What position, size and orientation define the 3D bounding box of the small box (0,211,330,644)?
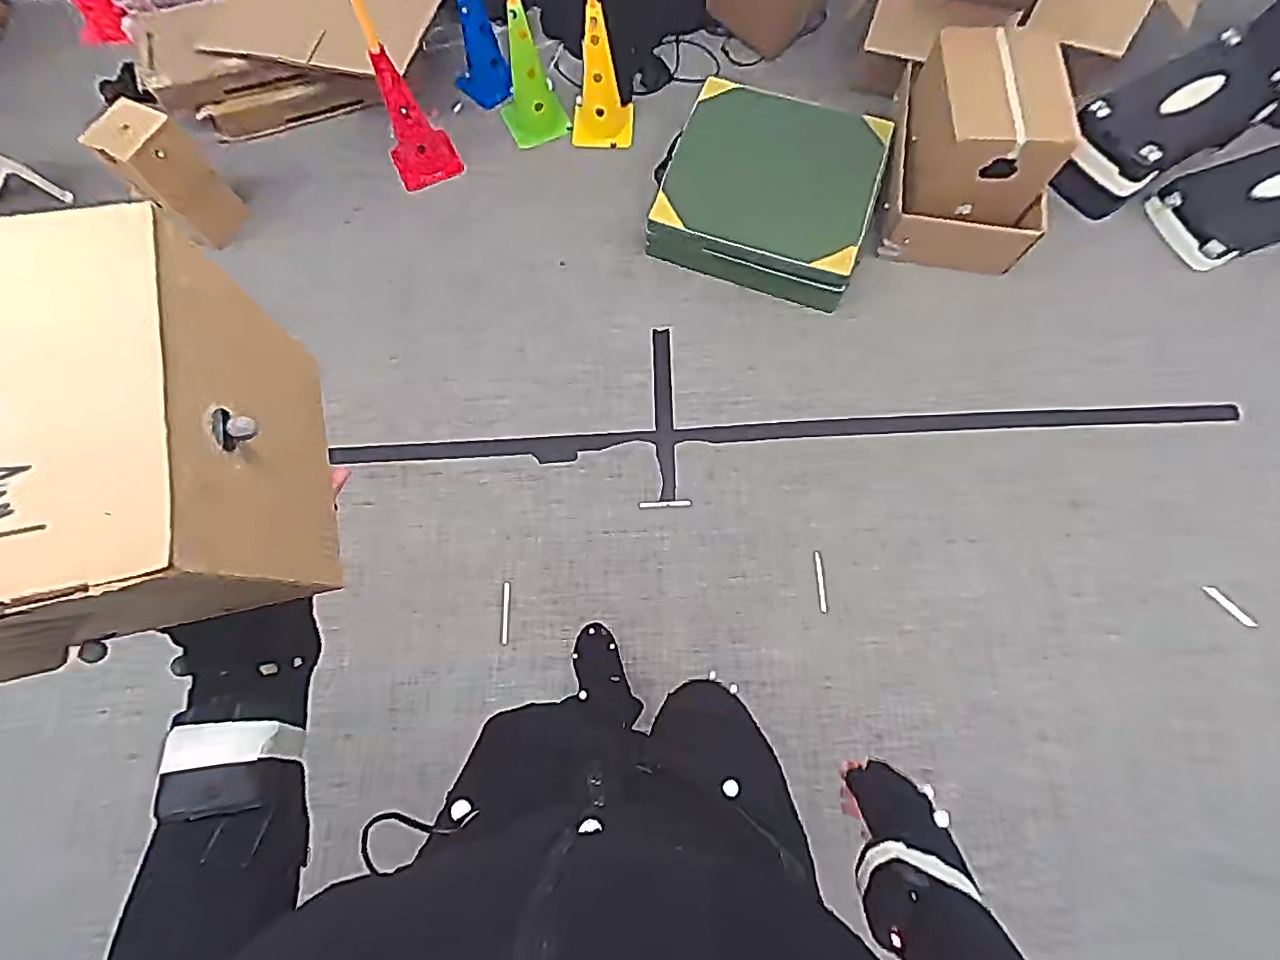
[{"bbox_3d":[-0.297,-0.010,0.300,0.168,0.176,0.179,-11,77,-9],"label":"small box"}]
